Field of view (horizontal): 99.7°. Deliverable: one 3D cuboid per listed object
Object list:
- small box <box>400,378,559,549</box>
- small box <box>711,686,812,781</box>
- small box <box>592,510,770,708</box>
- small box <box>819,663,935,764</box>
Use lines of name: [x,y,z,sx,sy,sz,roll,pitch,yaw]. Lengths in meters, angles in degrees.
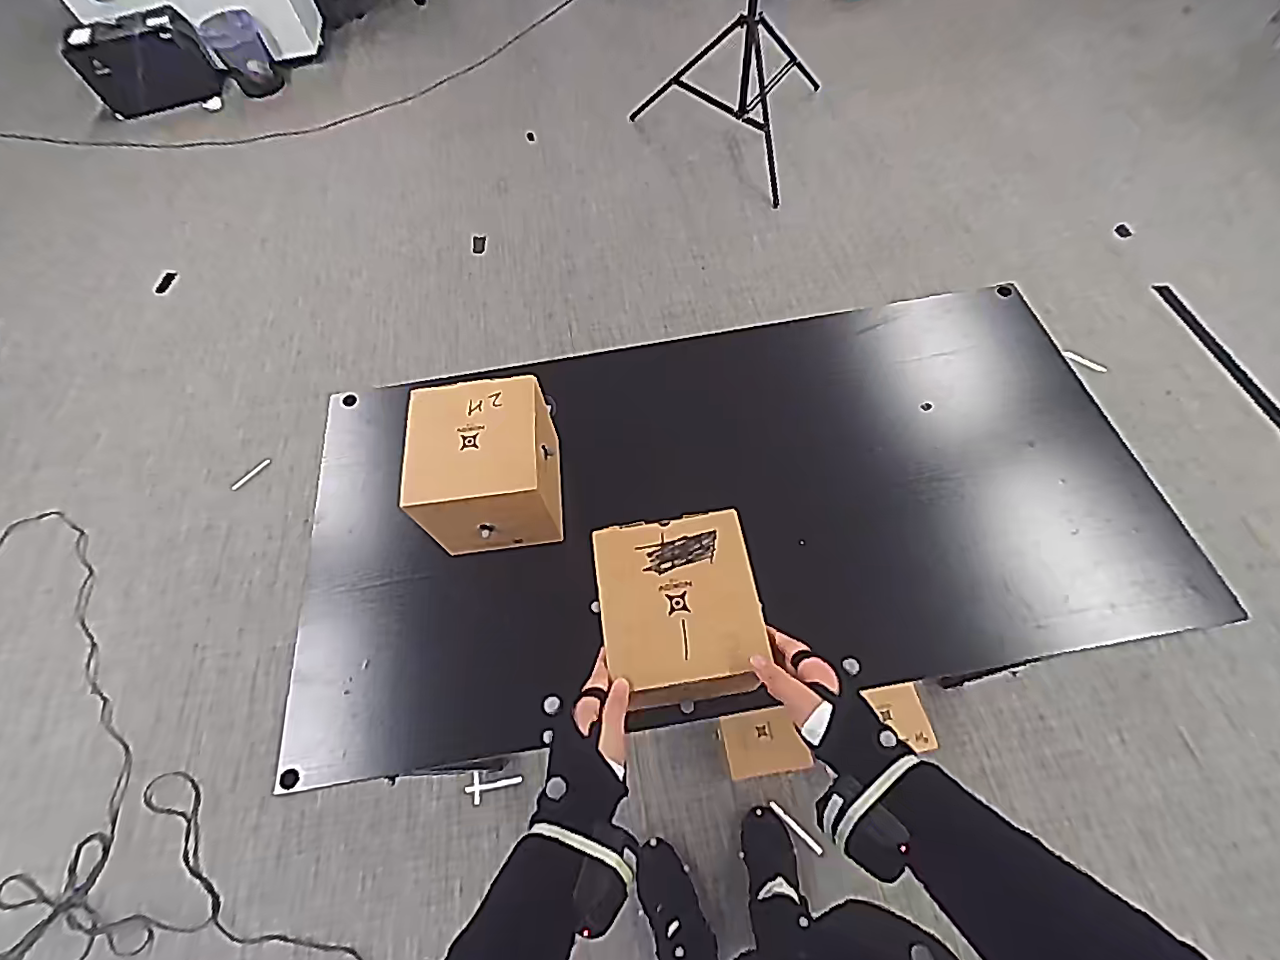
small box: [-0.209,-0.014,0.749,0.168,0.176,0.179,-7,61,0]
small box: [0.266,0.576,1.228,0.179,0.176,0.168,-11,61,0]
small box: [0.041,0.158,0.638,0.168,0.176,0.179,-9,62,0]
small box: [0.525,0.533,1.229,0.168,0.176,0.179,-11,61,-1]
